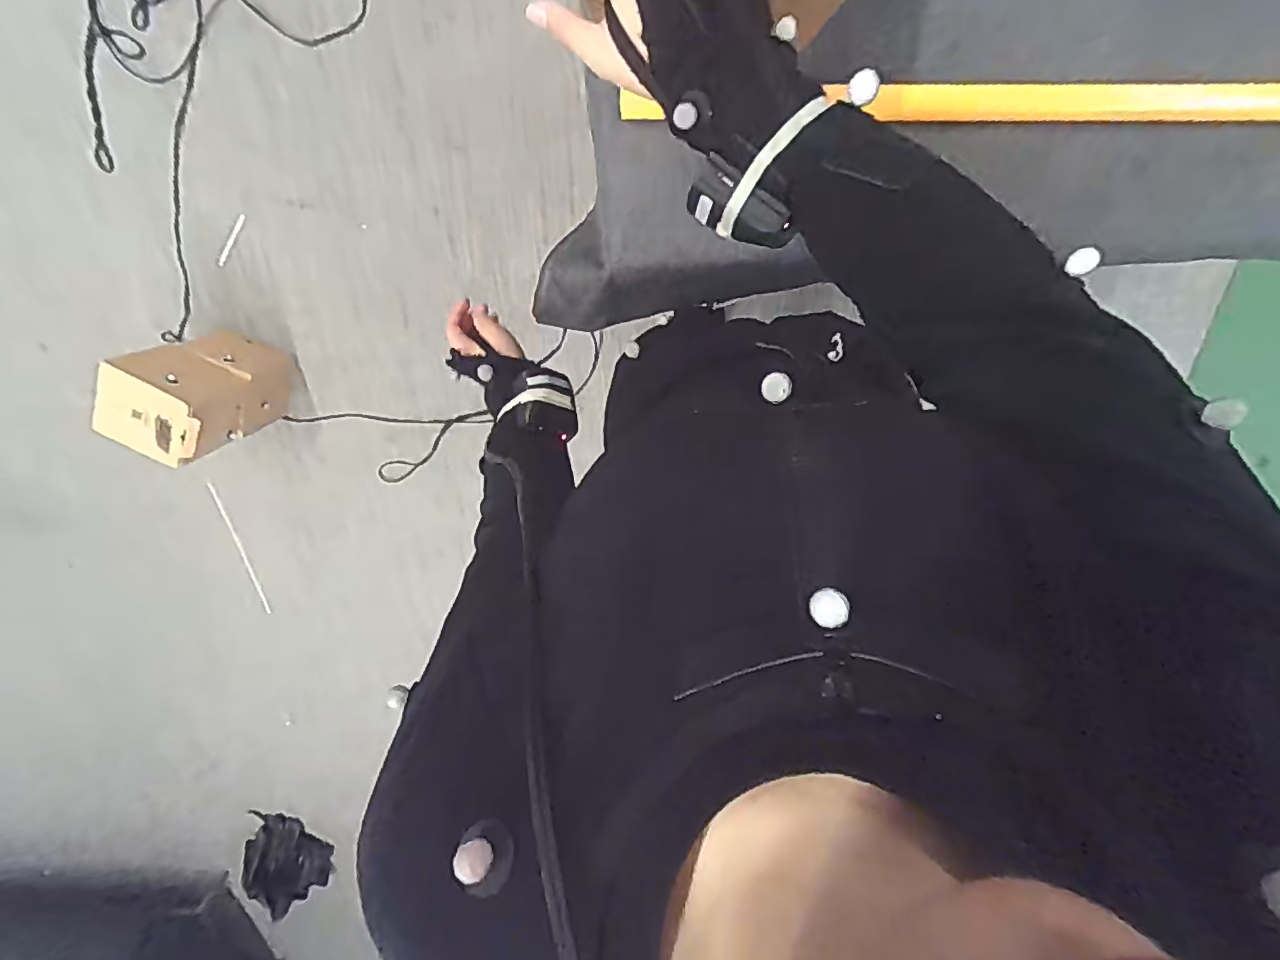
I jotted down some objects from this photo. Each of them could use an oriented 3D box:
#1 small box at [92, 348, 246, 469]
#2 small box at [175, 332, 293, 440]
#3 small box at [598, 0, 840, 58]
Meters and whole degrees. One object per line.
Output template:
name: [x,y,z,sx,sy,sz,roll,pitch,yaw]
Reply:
small box: [-0.986,-0.159,1.146,0.179,0.176,0.168,29,113,-10]
small box: [-0.968,-0.230,1.294,0.168,0.176,0.179,24,115,-8]
small box: [0.048,-0.401,0.345,0.168,0.176,0.179,0,117,4]
